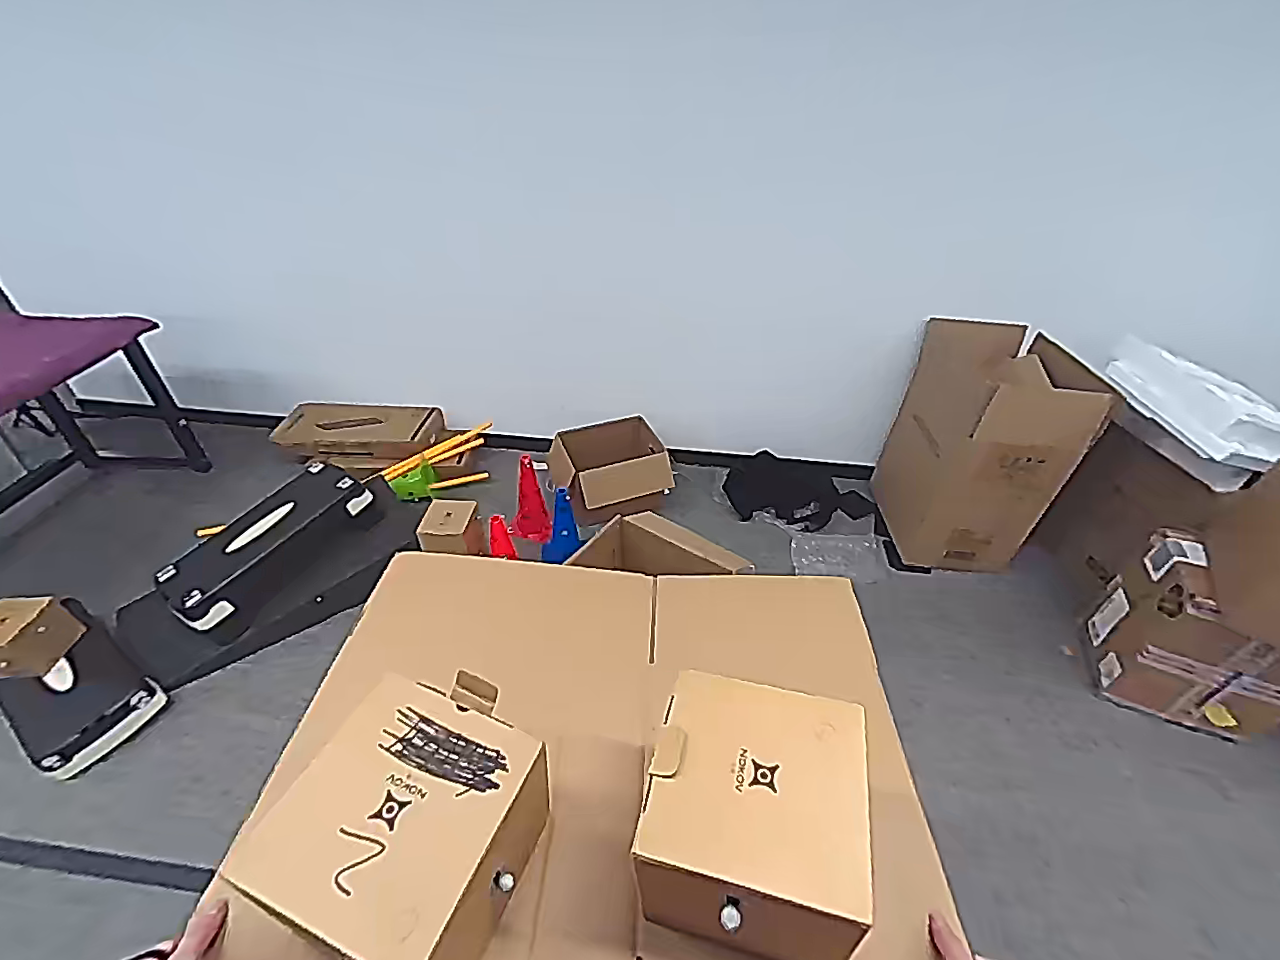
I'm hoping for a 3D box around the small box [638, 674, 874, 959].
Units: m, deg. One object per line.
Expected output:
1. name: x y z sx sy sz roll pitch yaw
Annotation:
1. small box: 0.109 0.316 0.510 0.179 0.176 0.168 6 40 15
